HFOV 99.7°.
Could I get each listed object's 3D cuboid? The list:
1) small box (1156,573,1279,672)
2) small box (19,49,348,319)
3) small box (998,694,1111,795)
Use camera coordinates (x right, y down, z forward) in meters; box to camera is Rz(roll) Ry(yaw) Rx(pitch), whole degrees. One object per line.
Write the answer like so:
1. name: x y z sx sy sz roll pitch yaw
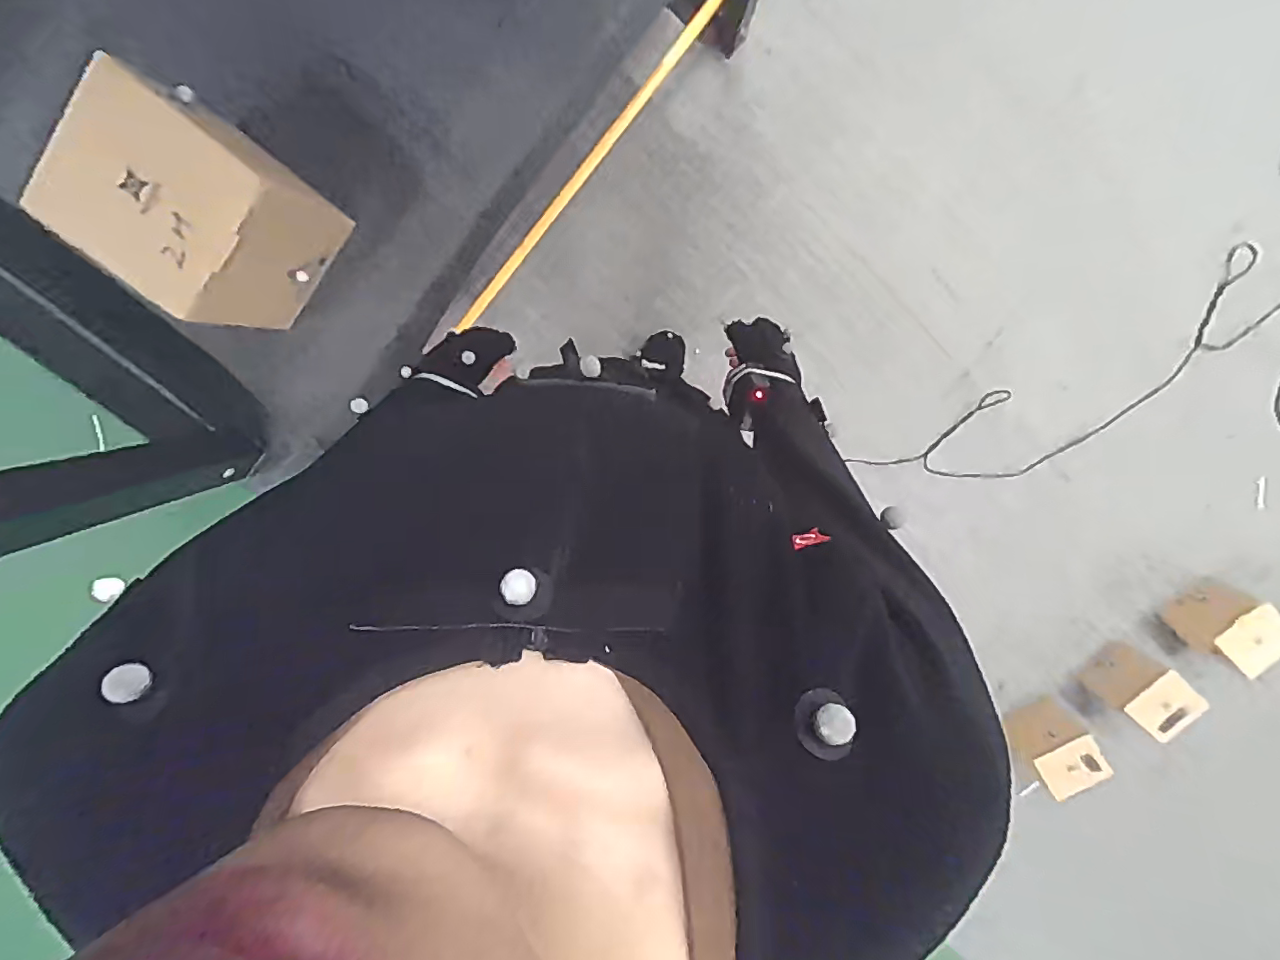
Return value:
1. small box: 1.631 0.390 1.514 0.179 0.176 0.168 41 99 -8
2. small box: -0.468 -0.291 0.585 0.179 0.176 0.168 38 100 -8
3. small box: 1.215 0.772 1.596 0.179 0.176 0.168 -33 101 8
